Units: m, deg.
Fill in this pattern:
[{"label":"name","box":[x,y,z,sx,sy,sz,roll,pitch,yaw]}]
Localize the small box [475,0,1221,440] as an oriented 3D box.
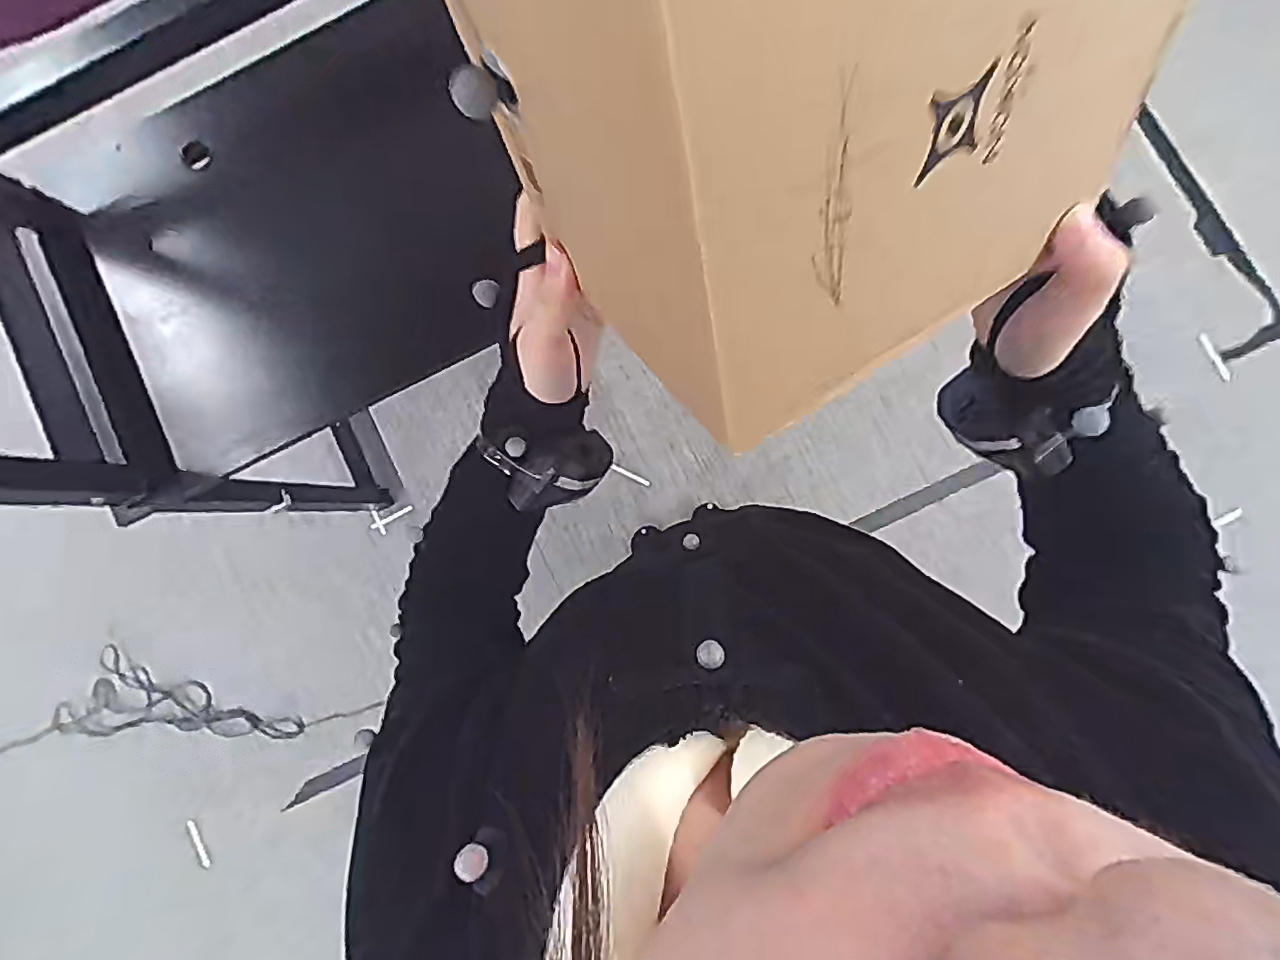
[{"label":"small box","box":[0.056,-0.154,0.186,0.179,0.168,0.176,-31,53,-7]}]
